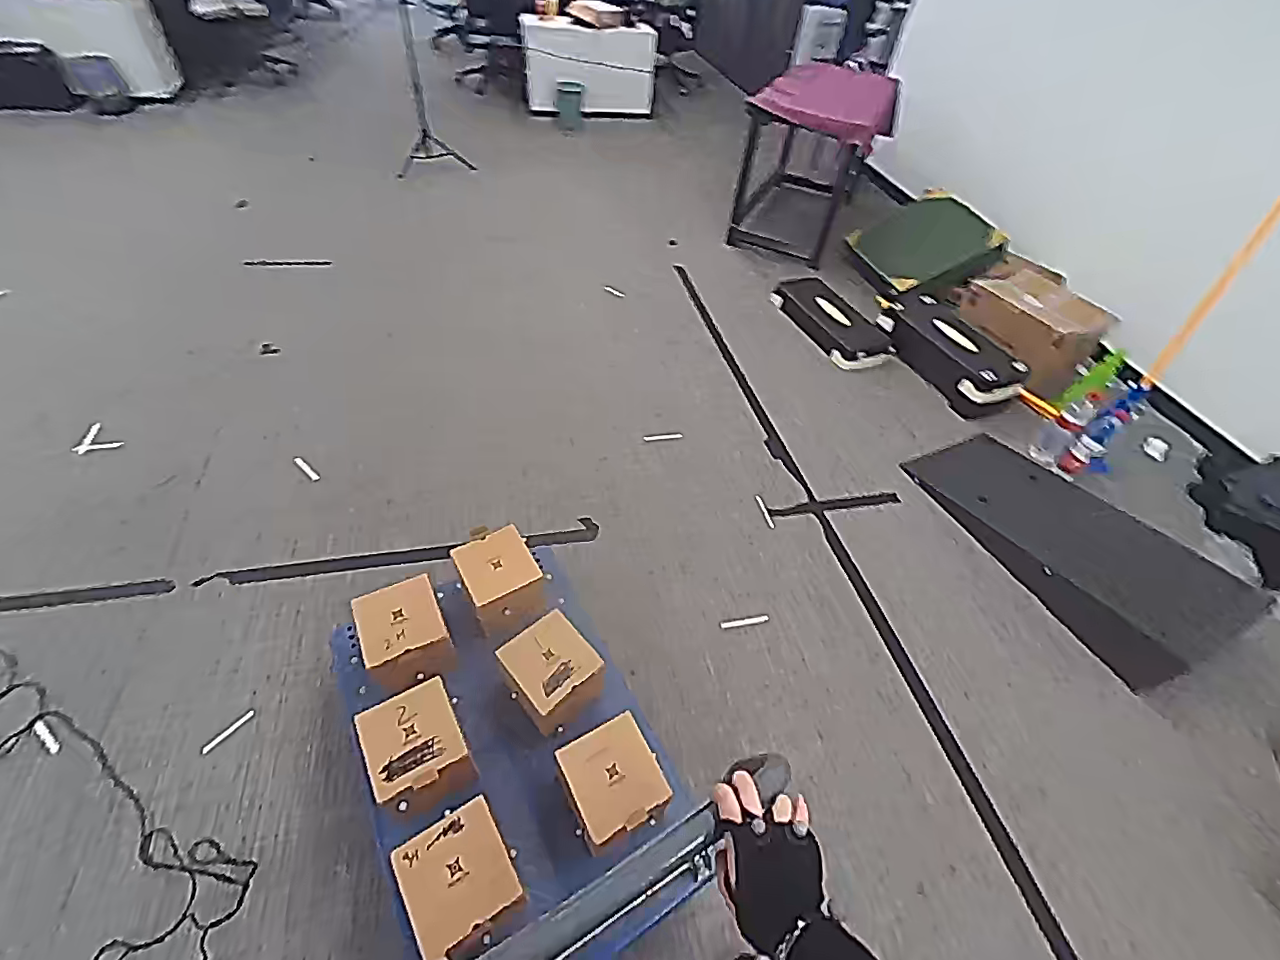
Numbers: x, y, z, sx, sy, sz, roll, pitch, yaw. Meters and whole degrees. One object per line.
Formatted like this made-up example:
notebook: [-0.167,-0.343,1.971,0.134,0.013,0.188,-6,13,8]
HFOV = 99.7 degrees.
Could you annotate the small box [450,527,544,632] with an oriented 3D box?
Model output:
small box: [-0.349,0.254,1.345,0.168,0.176,0.179,-24,56,-25]

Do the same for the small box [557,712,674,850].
small box: [-0.053,0.604,1.076,0.168,0.176,0.179,-21,54,-23]

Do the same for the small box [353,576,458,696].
small box: [-0.529,0.356,1.232,0.168,0.176,0.179,-20,55,-22]

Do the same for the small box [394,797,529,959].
small box: [-0.306,0.705,0.954,0.168,0.176,0.179,-24,56,-26]

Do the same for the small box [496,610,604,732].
small box: [-0.197,0.433,1.206,0.168,0.176,0.179,-33,59,-30]
